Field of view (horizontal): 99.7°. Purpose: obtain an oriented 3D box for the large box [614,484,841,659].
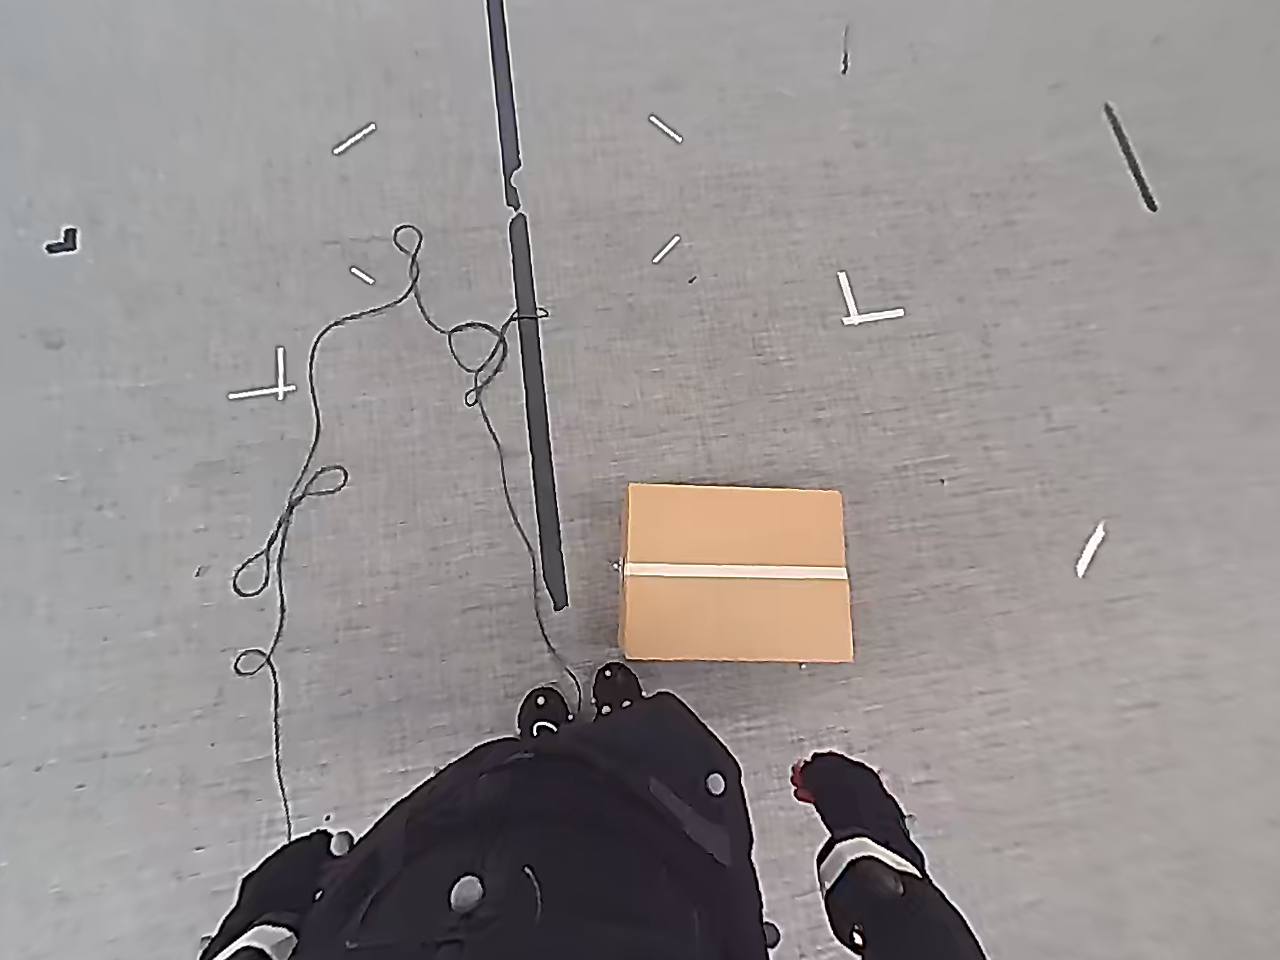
[{"bbox_3d":[0.155,0.195,1.129,0.408,0.320,0.320,3,76,-4],"label":"large box"}]
